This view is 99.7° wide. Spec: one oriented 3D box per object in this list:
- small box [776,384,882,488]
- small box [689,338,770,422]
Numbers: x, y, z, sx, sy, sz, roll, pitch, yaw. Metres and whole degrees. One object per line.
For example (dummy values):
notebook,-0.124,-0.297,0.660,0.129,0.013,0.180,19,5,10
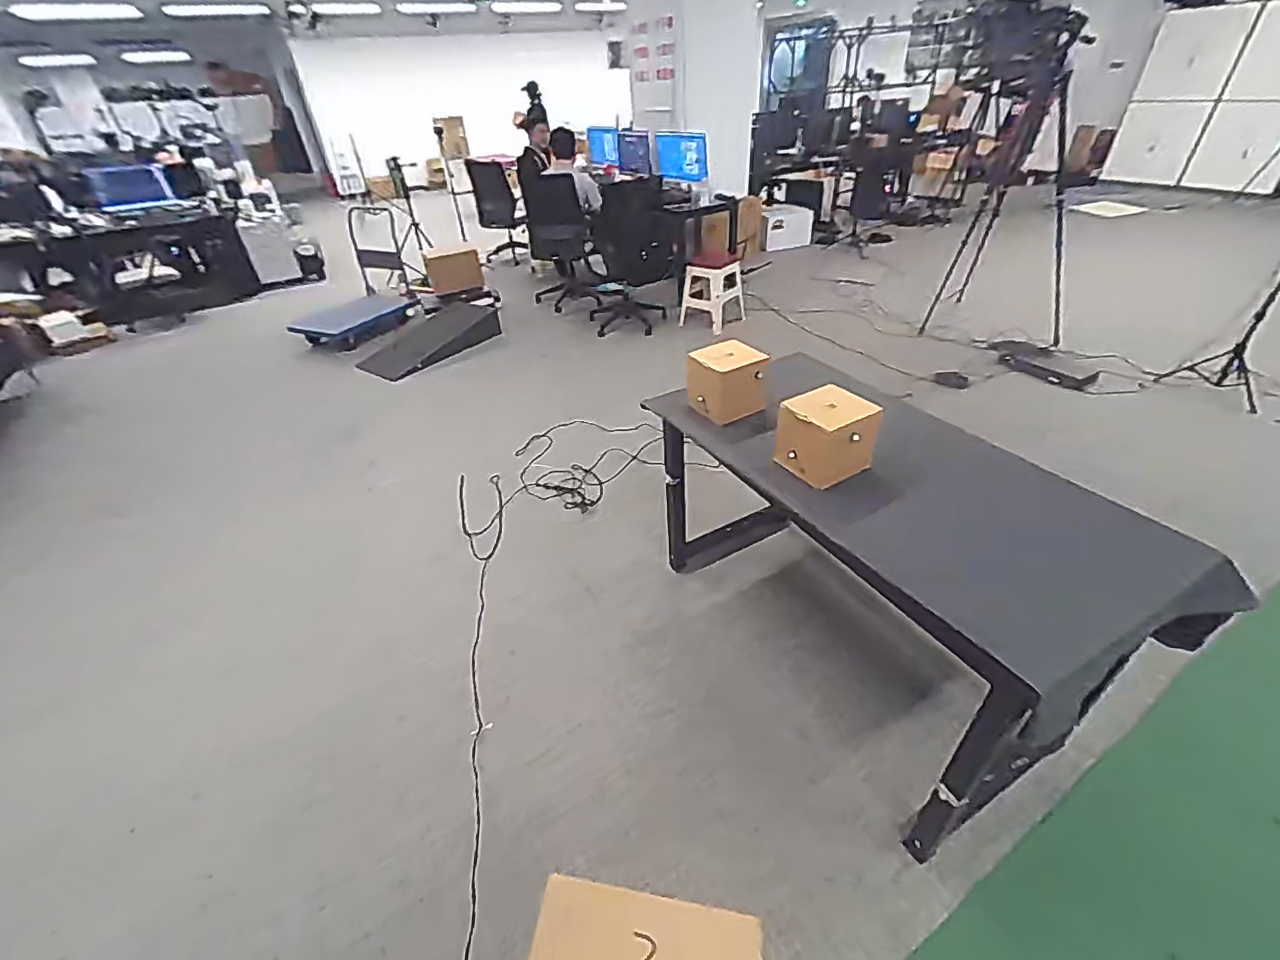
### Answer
small box,0.453,-0.109,1.326,0.179,0.176,0.168,-21,40,-22
small box,0.254,-0.294,1.584,0.179,0.176,0.168,-21,40,-23
